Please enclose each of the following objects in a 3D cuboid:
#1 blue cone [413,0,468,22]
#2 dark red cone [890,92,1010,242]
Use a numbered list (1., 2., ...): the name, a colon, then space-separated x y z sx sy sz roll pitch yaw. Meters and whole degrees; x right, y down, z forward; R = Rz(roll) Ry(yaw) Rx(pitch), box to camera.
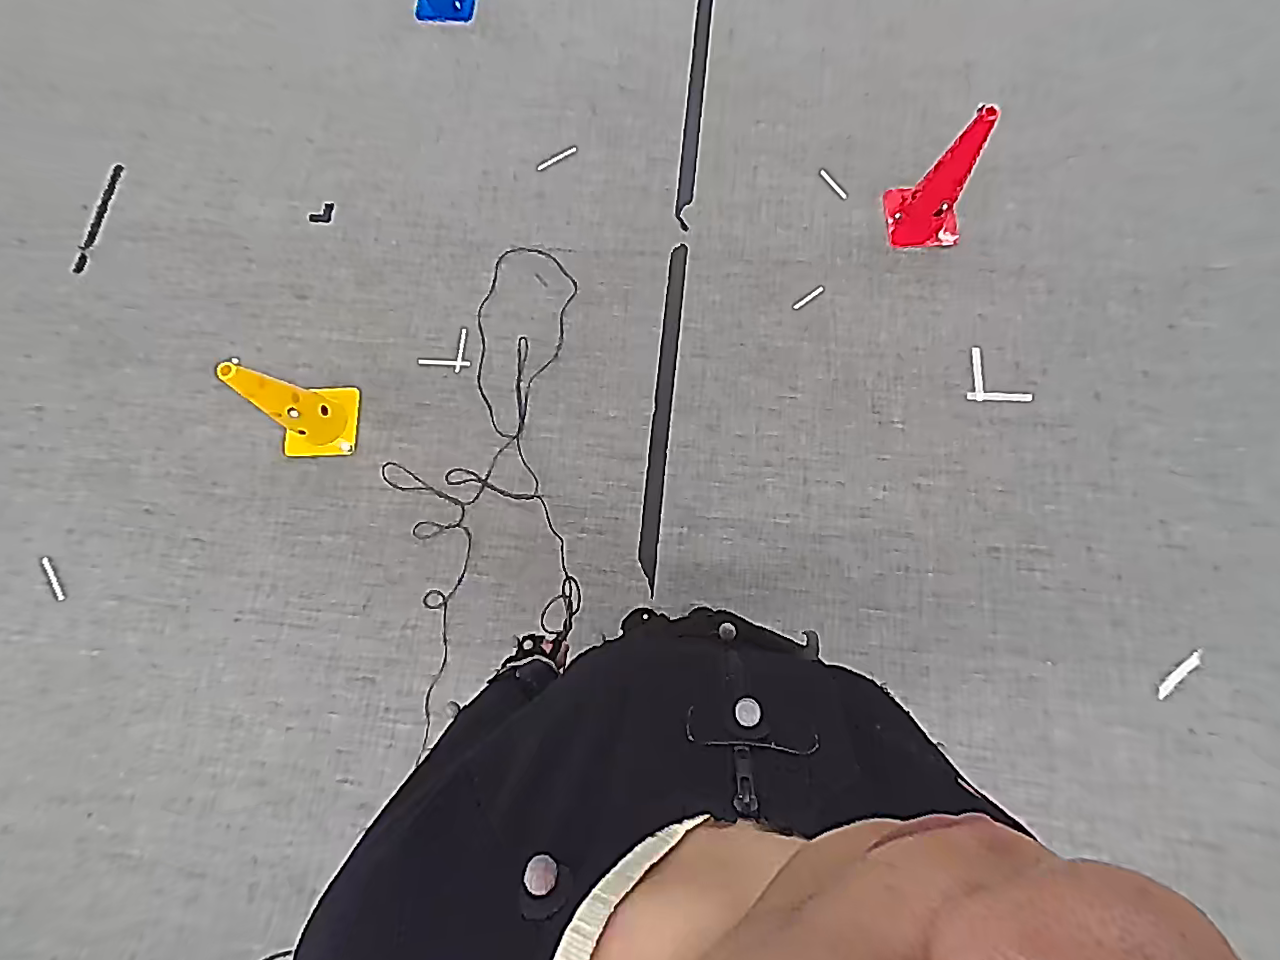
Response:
1. blue cone: -0.684 -1.679 1.685 0.192 0.380 0.193 5 77 5
2. dark red cone: 0.821 -0.813 1.397 0.201 0.394 0.202 -3 77 3
